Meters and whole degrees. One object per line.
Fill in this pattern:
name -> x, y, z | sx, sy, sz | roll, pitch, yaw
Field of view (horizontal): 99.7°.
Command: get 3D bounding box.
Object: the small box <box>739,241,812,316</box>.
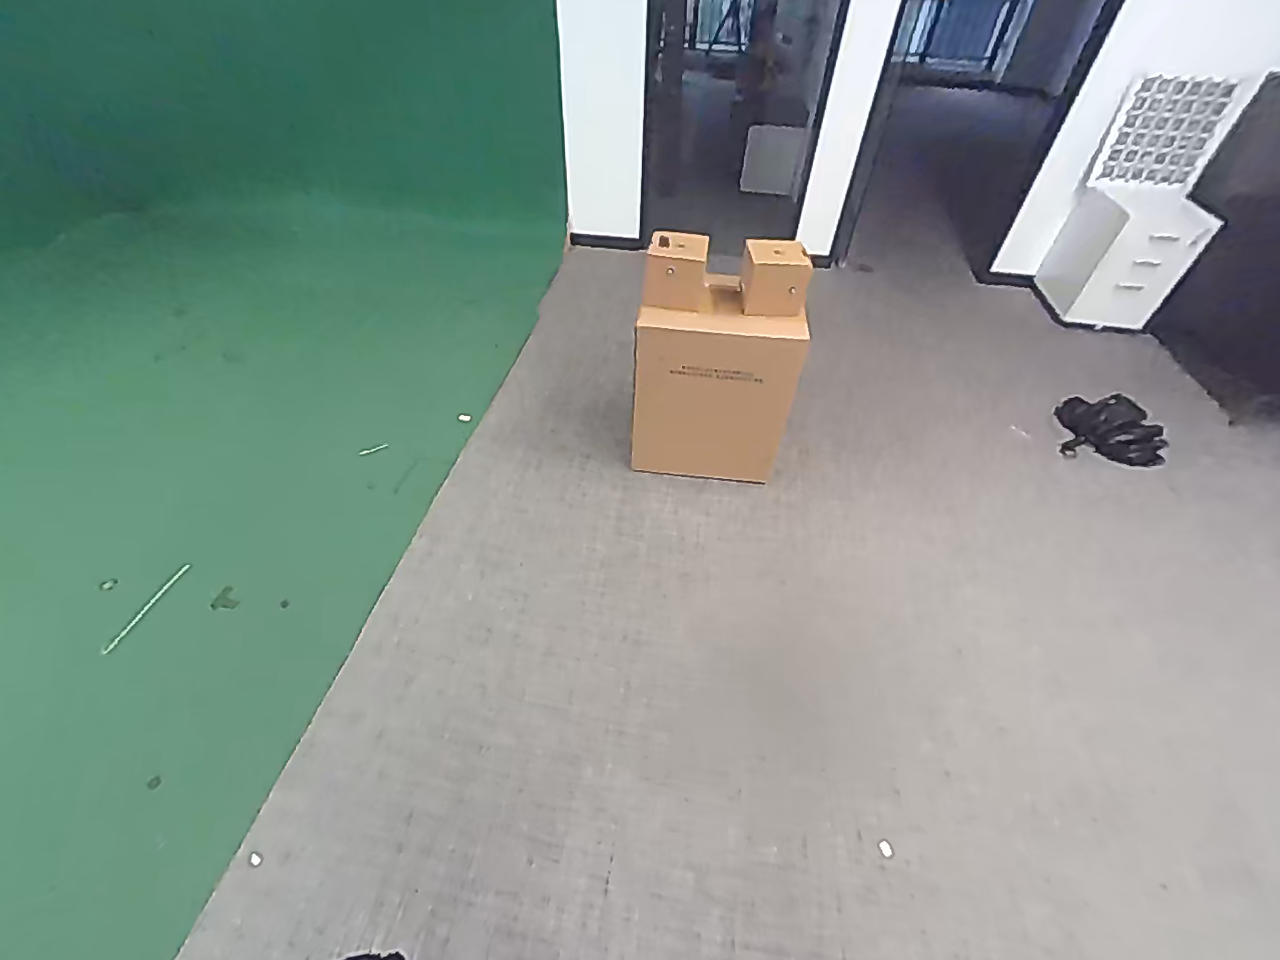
small box -> 0.417, -0.629, 1.695 | 0.179, 0.176, 0.168 | -1, 47, -1

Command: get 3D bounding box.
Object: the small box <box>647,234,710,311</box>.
small box -> 0.119, -0.654, 1.707 | 0.179, 0.176, 0.168 | 8, 49, 6
